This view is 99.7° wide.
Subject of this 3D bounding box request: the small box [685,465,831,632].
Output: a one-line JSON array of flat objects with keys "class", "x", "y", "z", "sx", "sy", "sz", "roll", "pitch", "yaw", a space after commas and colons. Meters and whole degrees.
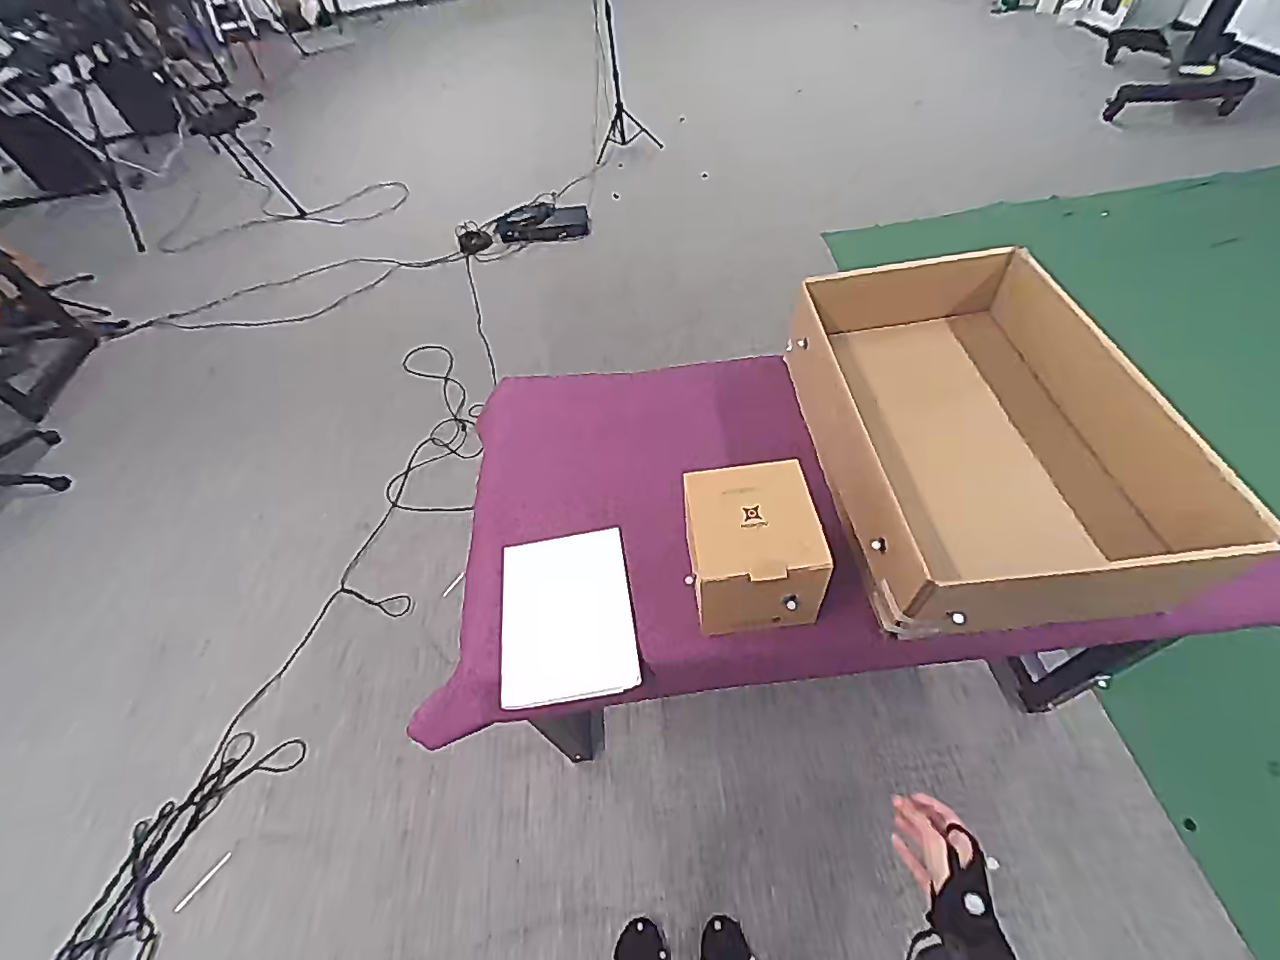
[{"class": "small box", "x": 0.158, "y": 0.105, "z": 0.772, "sx": 0.168, "sy": 0.176, "sz": 0.179, "roll": -6, "pitch": 50, "yaw": 2}]
